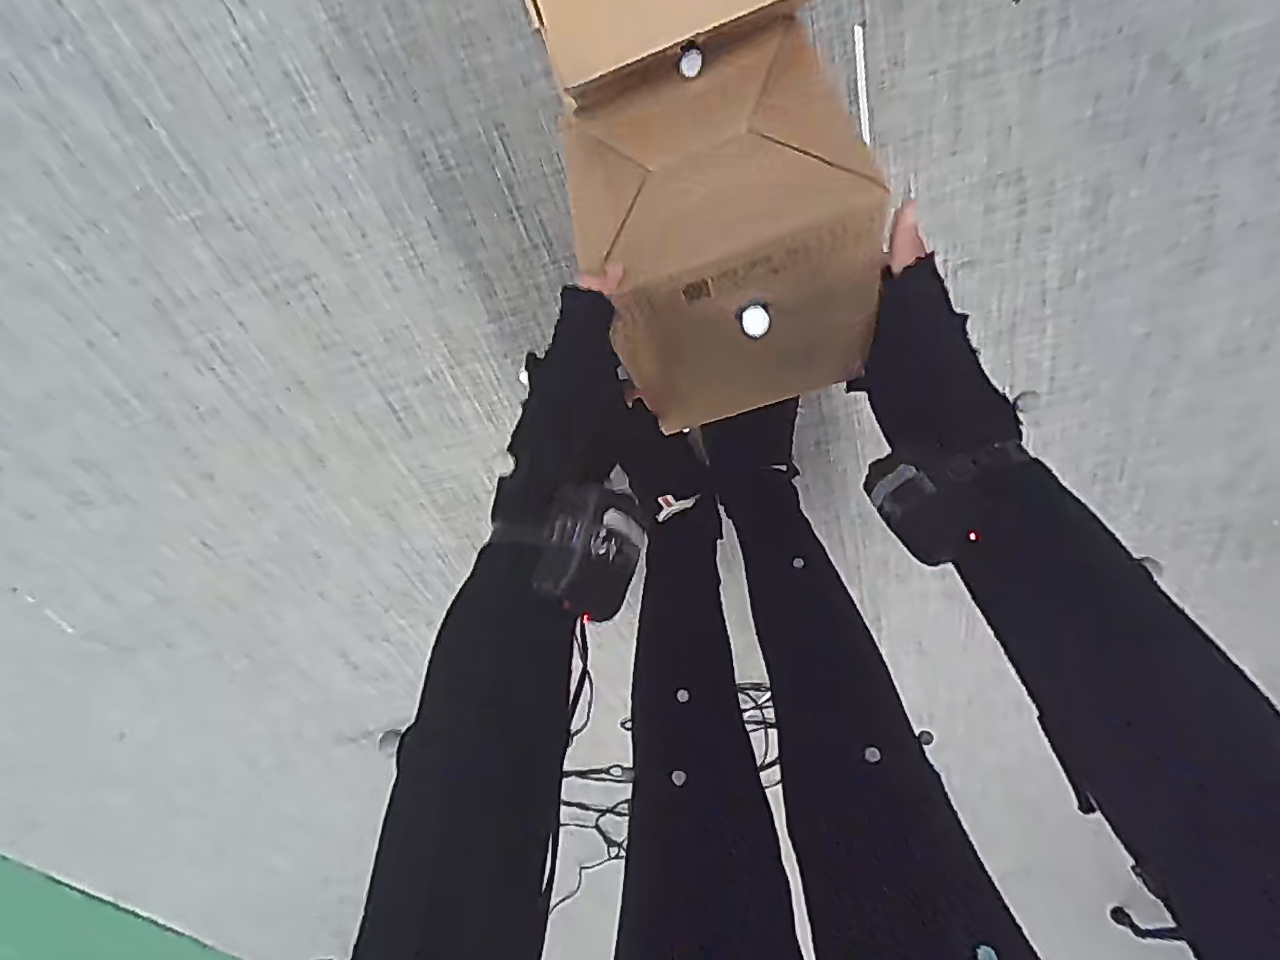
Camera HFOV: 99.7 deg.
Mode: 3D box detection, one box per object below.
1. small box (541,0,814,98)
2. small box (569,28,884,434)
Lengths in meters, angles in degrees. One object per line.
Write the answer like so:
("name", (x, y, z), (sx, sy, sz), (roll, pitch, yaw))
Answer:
("small box", (0.014, -0.359, 0.326), (0.179, 0.176, 0.168), (-16, 120, 10))
("small box", (0.061, -0.164, 0.386), (0.168, 0.179, 0.176), (-16, 155, 13))
